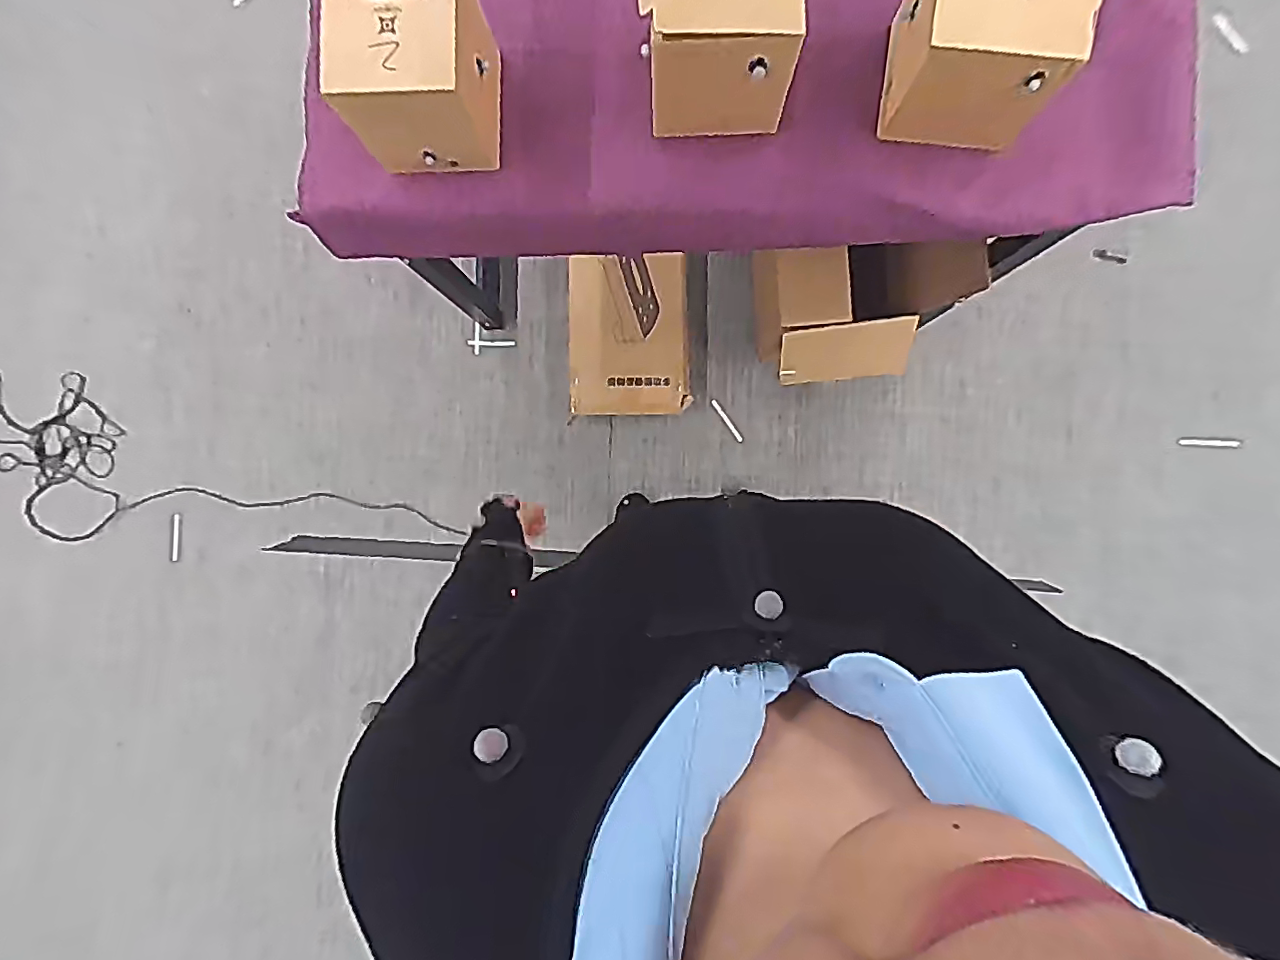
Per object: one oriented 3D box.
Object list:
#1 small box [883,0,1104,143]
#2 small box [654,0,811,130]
[{"bbox_3d":[0.424,-0.552,0.669,0.179,0.176,0.168,7,90,3],"label":"small box"},{"bbox_3d":[0.107,-0.576,0.684,0.179,0.176,0.168,0,88,3],"label":"small box"}]
